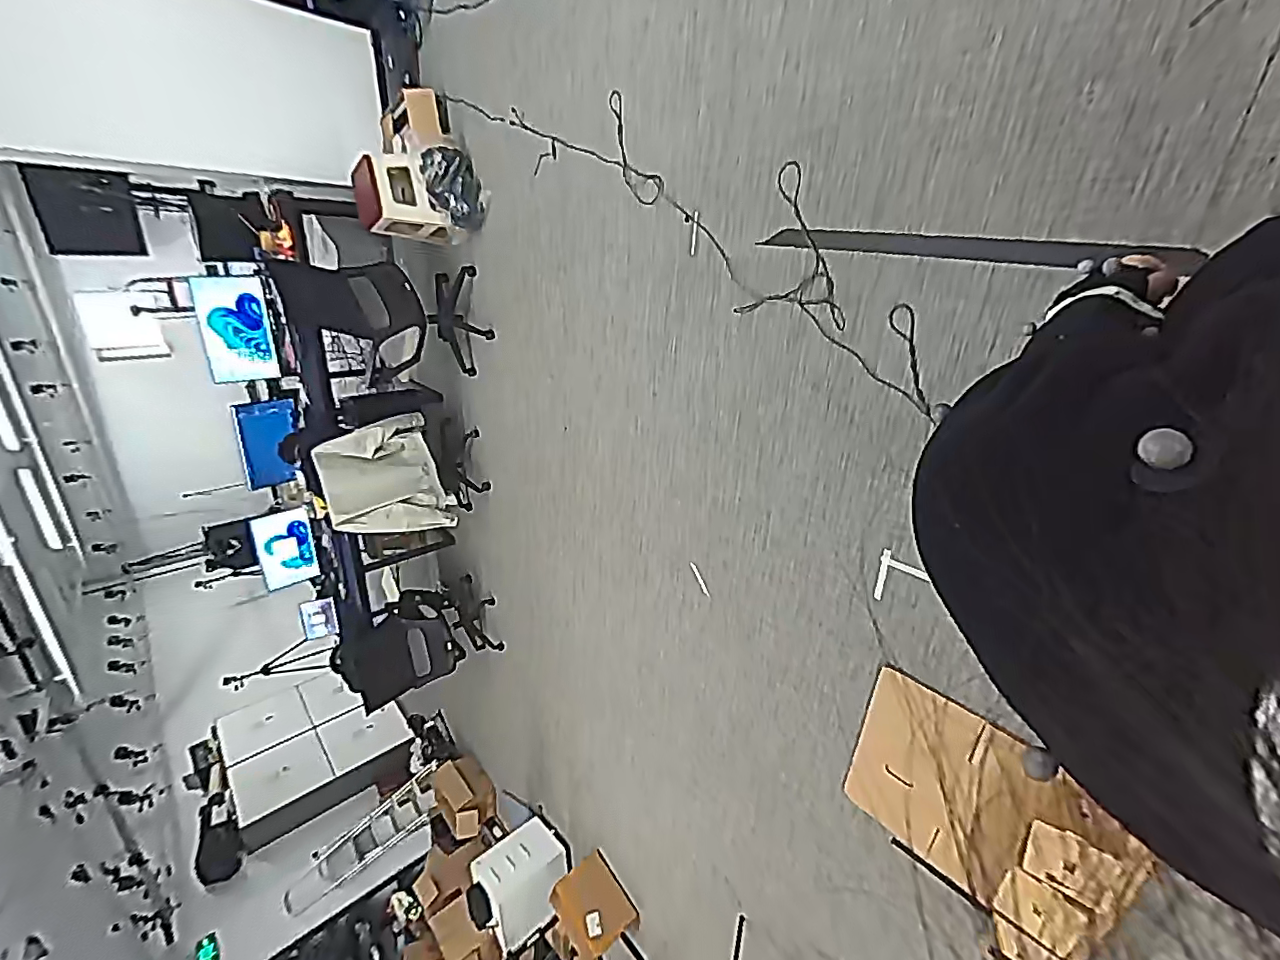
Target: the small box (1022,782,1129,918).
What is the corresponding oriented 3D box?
[{"bbox_3d":[1.062,0.887,1.316,0.168,0.176,0.179,15,114,45],"label":"small box"}]
